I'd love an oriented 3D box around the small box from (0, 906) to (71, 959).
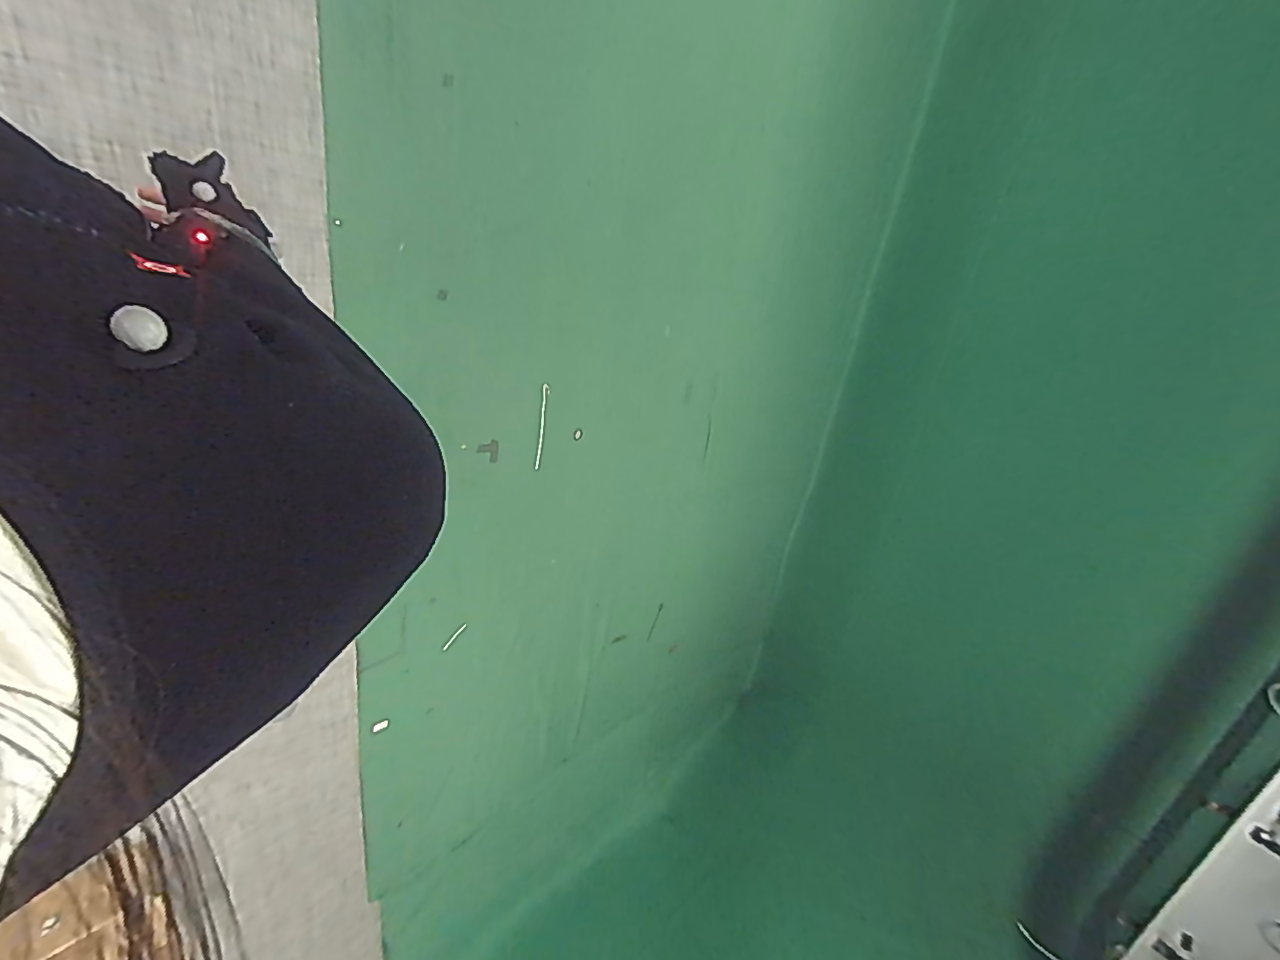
[{"bbox_3d":[-1.459,1.159,1.253,0.179,0.176,0.168,-18,127,-45],"label":"small box"}]
